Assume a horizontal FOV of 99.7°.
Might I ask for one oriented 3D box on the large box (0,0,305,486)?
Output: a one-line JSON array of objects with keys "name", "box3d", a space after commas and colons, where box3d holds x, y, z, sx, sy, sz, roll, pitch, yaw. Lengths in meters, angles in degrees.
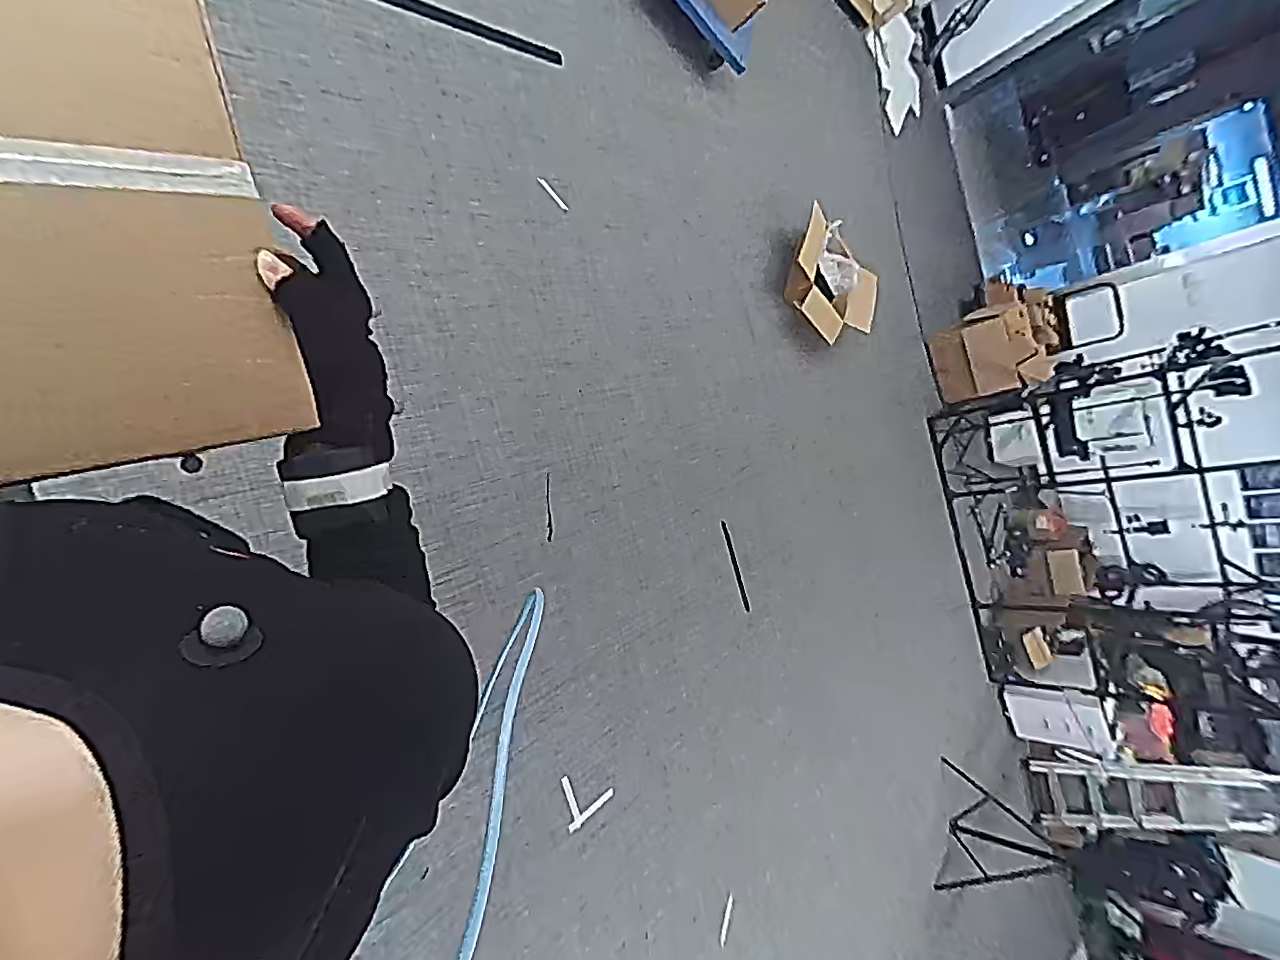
[{"name": "large box", "box3d": [-0.498, -0.143, 0.324, 0.408, 0.320, 0.320, -21, 107, -41]}]
